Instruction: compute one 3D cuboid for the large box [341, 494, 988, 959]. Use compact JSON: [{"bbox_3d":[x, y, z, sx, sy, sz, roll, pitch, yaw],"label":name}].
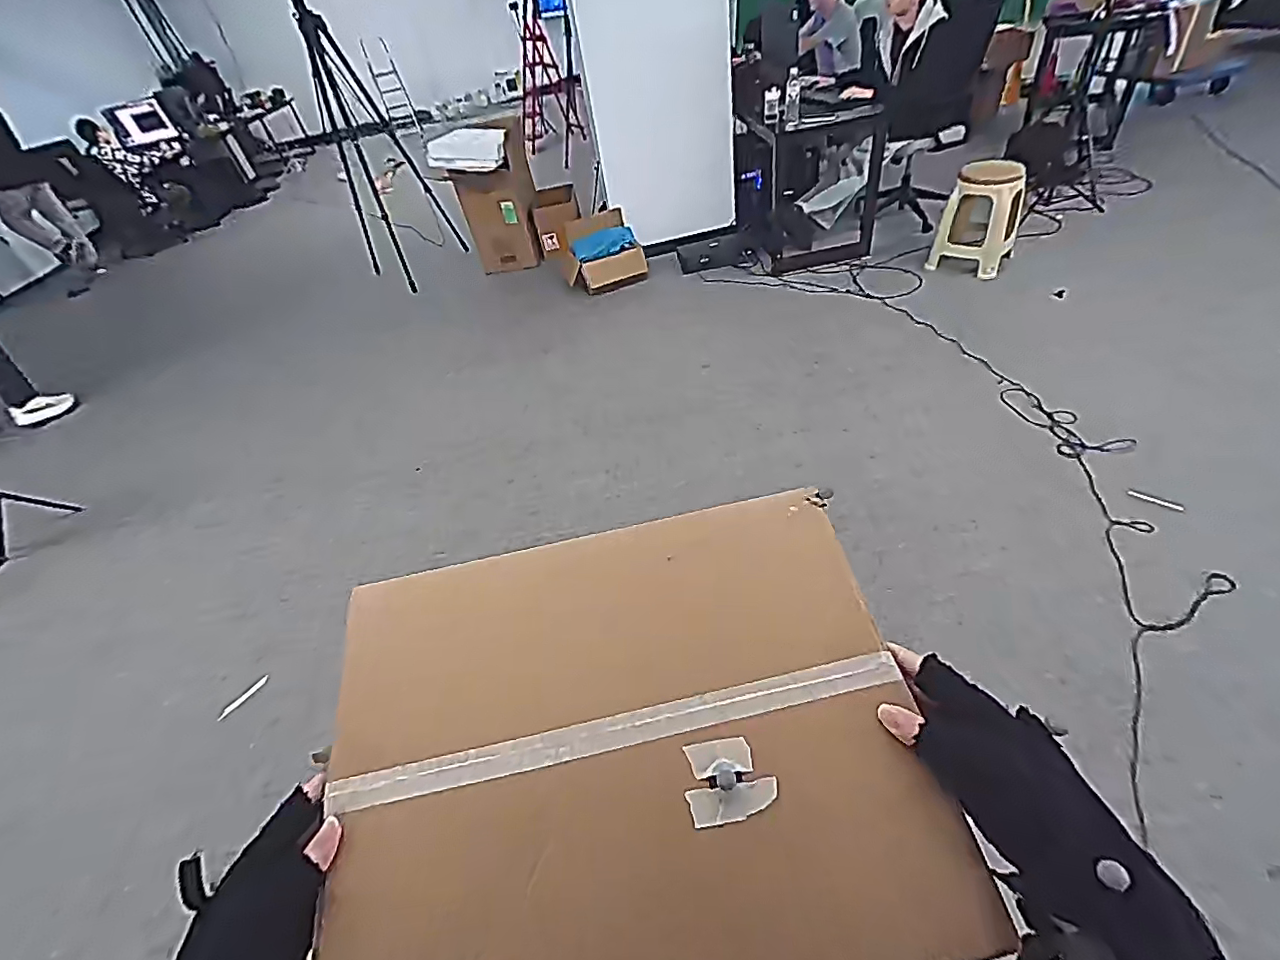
[{"bbox_3d":[0.000,0.260,0.519,0.408,0.320,0.320,-12,57,-2],"label":"large box"}]
